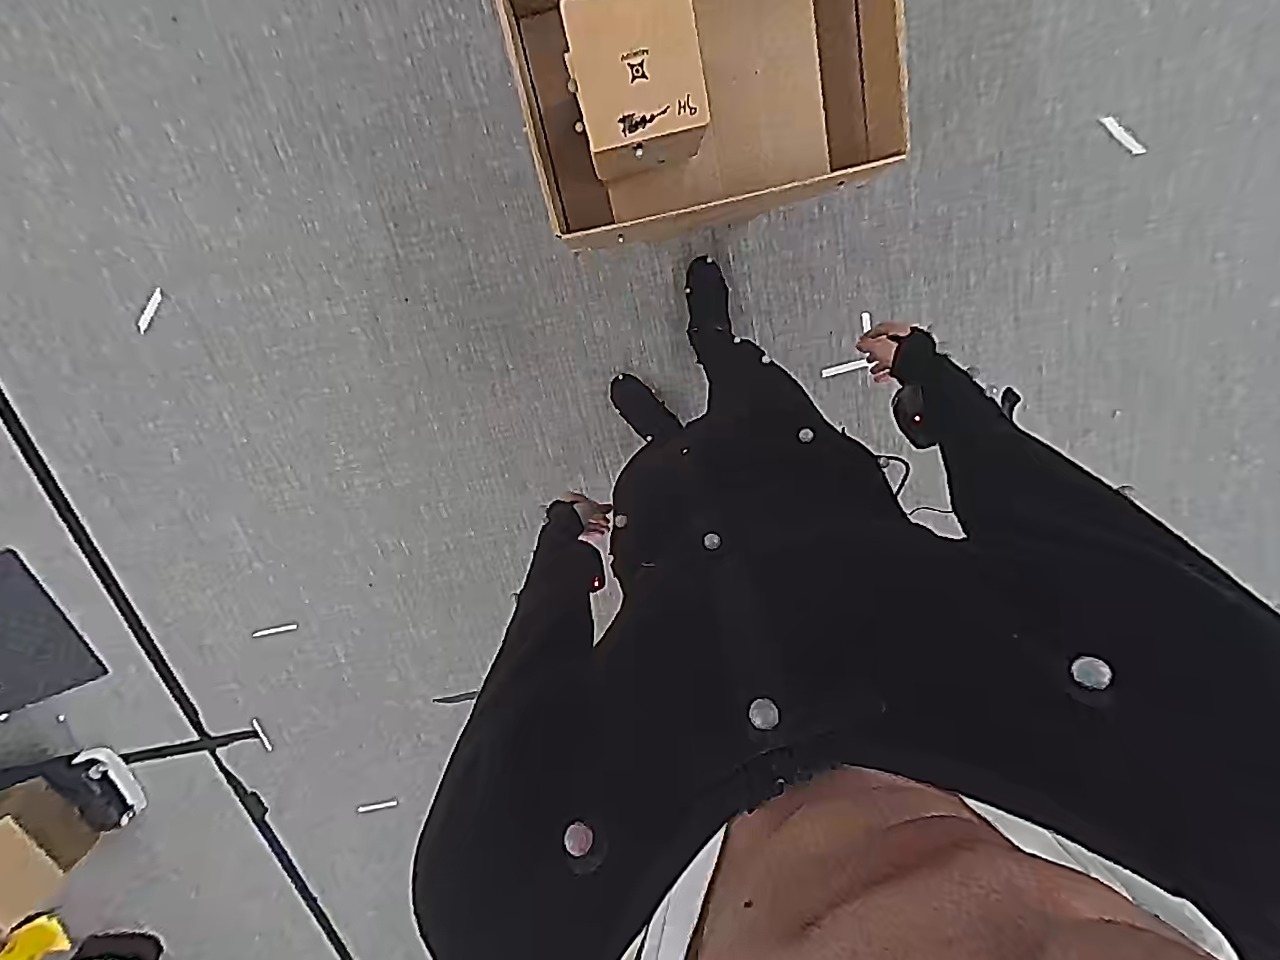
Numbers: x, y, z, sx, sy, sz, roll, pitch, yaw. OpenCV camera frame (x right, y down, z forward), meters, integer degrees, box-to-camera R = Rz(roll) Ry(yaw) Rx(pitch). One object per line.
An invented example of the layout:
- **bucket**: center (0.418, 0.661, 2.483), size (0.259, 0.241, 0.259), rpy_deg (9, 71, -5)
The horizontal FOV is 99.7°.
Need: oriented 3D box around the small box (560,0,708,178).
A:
- **small box**: center (-0.008, -0.562, 0.772), size (0.168, 0.176, 0.179), rpy_deg (-12, 107, 3)
